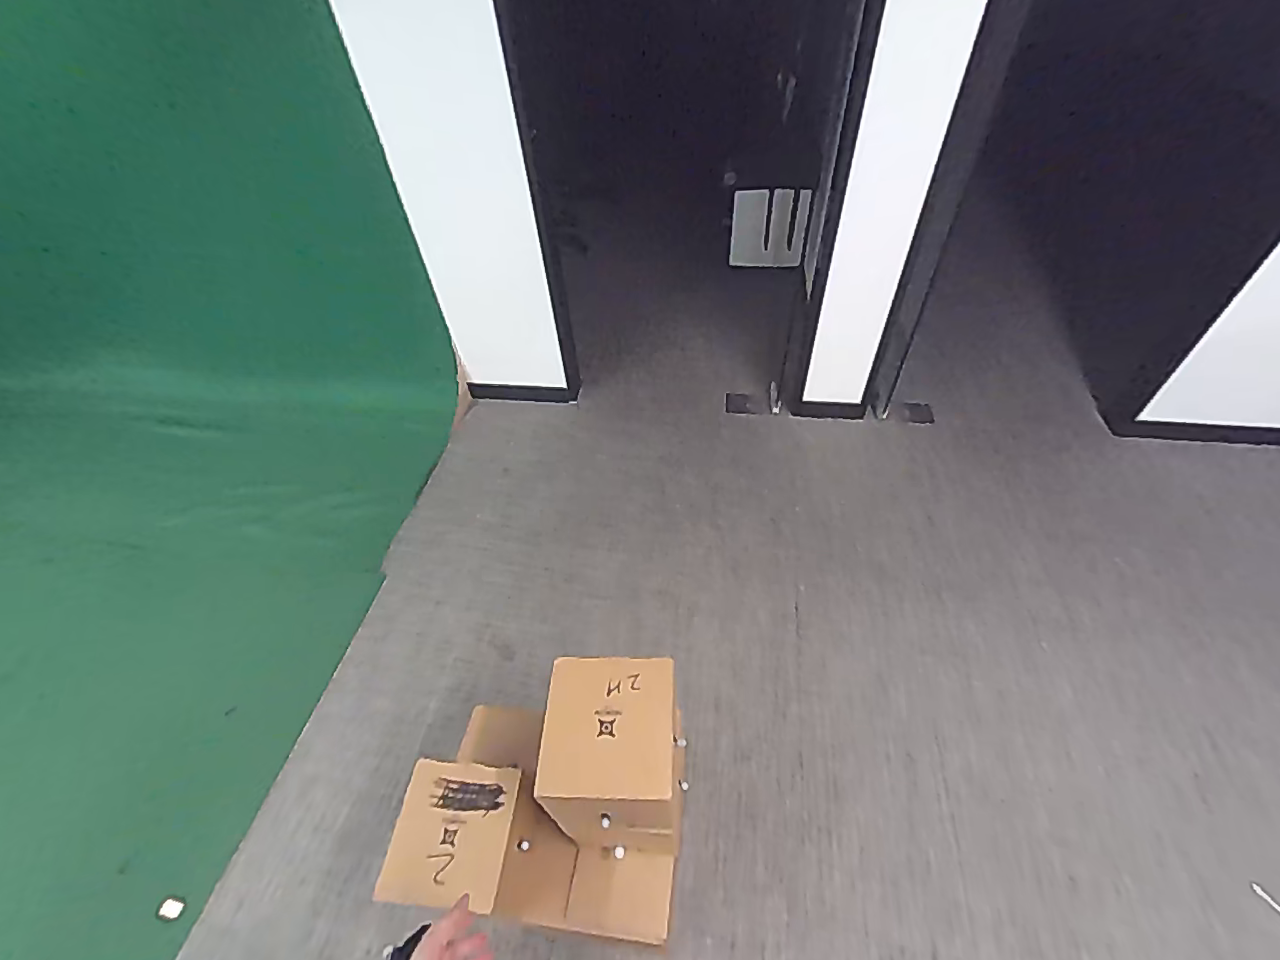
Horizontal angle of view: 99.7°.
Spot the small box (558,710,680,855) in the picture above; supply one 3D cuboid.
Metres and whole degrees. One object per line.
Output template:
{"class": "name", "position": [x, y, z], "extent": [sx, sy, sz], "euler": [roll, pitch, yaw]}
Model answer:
{"class": "small box", "position": [-0.023, 0.482, 0.874], "extent": [0.168, 0.176, 0.179], "euler": [1, 49, 7]}

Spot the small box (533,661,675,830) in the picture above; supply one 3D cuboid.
{"class": "small box", "position": [-0.037, 0.371, 0.753], "extent": [0.168, 0.176, 0.179], "euler": [0, 47, 5]}
